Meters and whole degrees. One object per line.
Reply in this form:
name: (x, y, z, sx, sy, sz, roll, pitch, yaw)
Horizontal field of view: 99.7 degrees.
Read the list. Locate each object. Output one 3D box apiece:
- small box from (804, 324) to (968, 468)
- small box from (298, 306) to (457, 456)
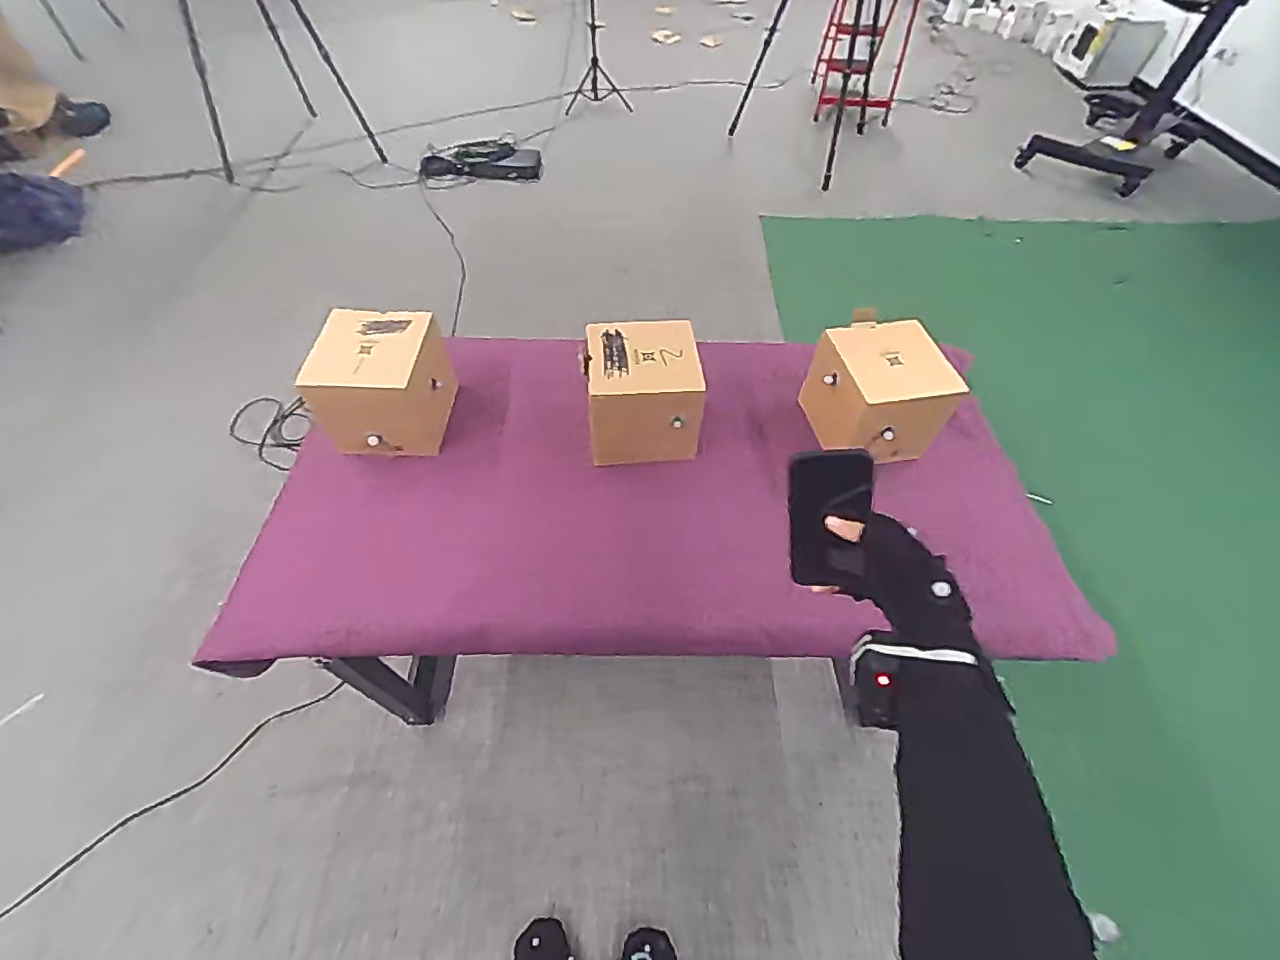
small box: (0.397, -0.133, 0.909, 0.168, 0.176, 0.179, -7, 54, -6)
small box: (-0.417, -0.162, 0.898, 0.168, 0.176, 0.179, 2, 56, 0)
